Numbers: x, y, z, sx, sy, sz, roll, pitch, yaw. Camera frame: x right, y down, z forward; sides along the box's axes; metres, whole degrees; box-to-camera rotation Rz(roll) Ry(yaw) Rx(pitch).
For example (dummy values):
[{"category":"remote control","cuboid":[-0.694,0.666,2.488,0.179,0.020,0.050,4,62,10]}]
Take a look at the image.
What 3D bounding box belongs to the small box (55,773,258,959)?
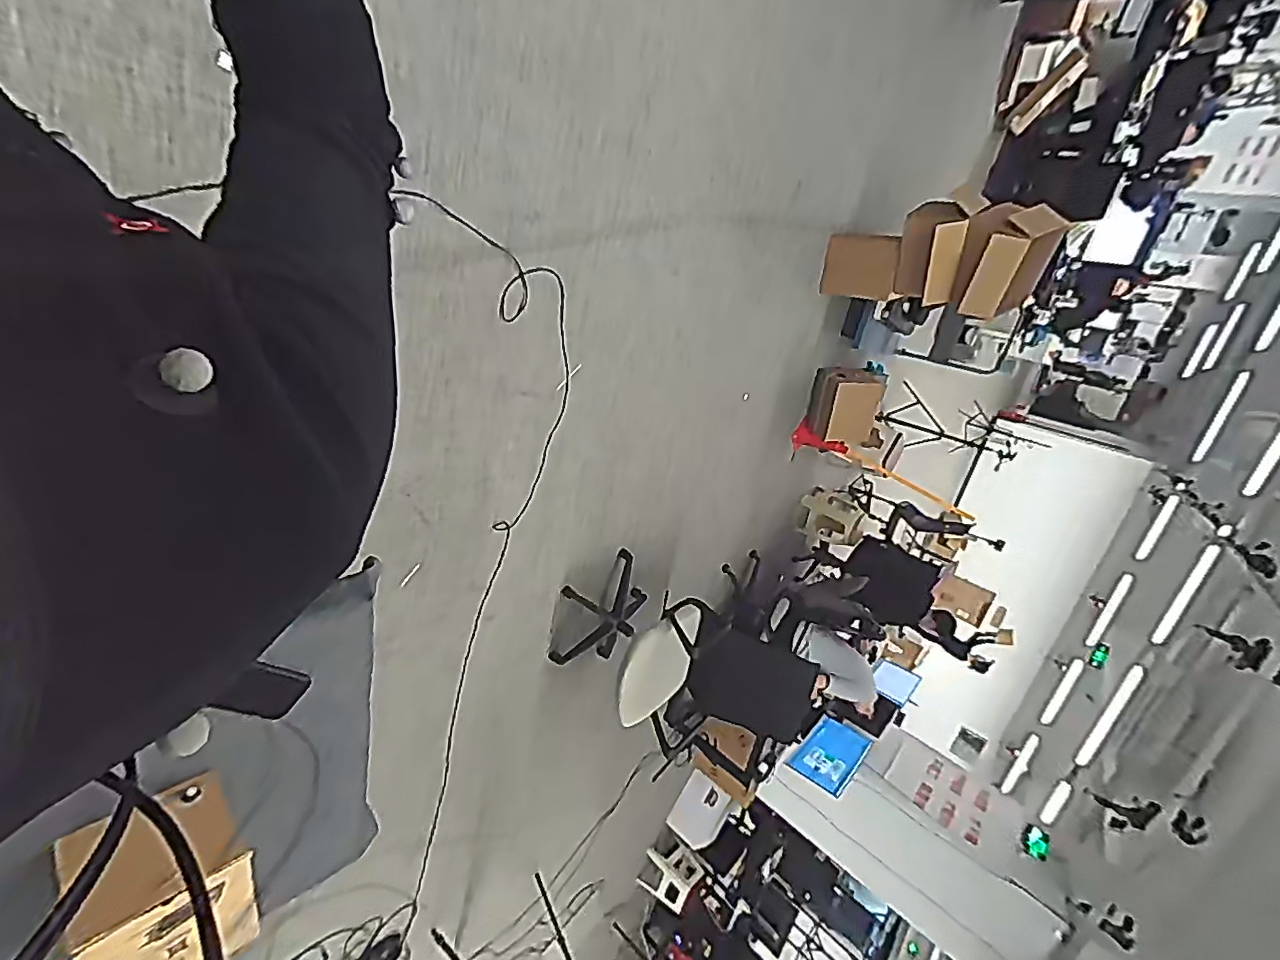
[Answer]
[{"category":"small box","cuboid":[-0.643,0.534,0.726,0.168,0.176,0.179,-15,125,-47]}]
